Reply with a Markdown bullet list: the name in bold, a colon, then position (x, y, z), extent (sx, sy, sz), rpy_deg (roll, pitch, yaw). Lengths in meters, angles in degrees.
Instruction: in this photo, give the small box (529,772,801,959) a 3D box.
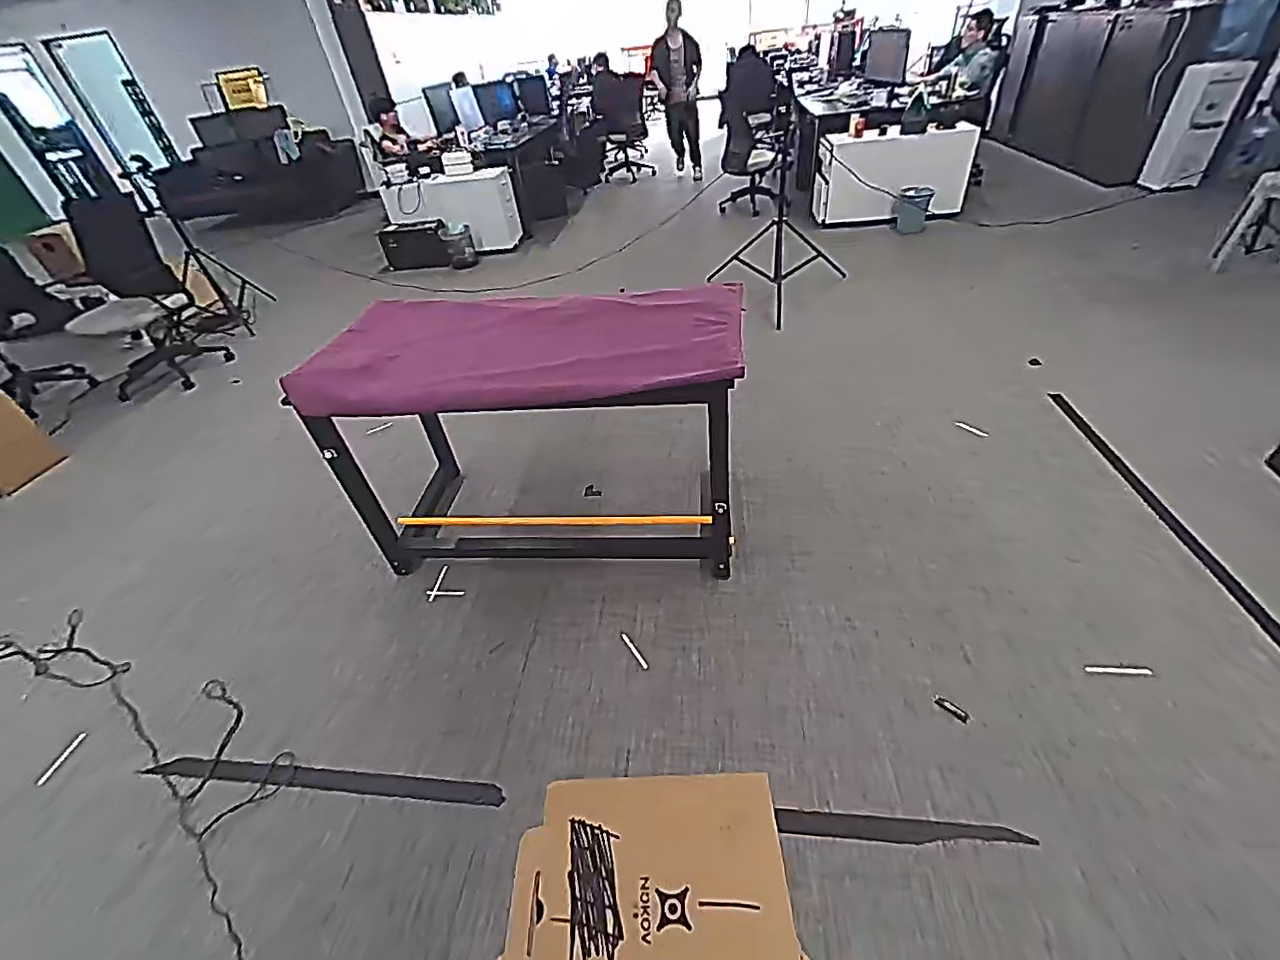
- **small box**: position (0.021, 0.348, 0.416), extent (0.179, 0.176, 0.168), rpy_deg (-3, 41, 2)
